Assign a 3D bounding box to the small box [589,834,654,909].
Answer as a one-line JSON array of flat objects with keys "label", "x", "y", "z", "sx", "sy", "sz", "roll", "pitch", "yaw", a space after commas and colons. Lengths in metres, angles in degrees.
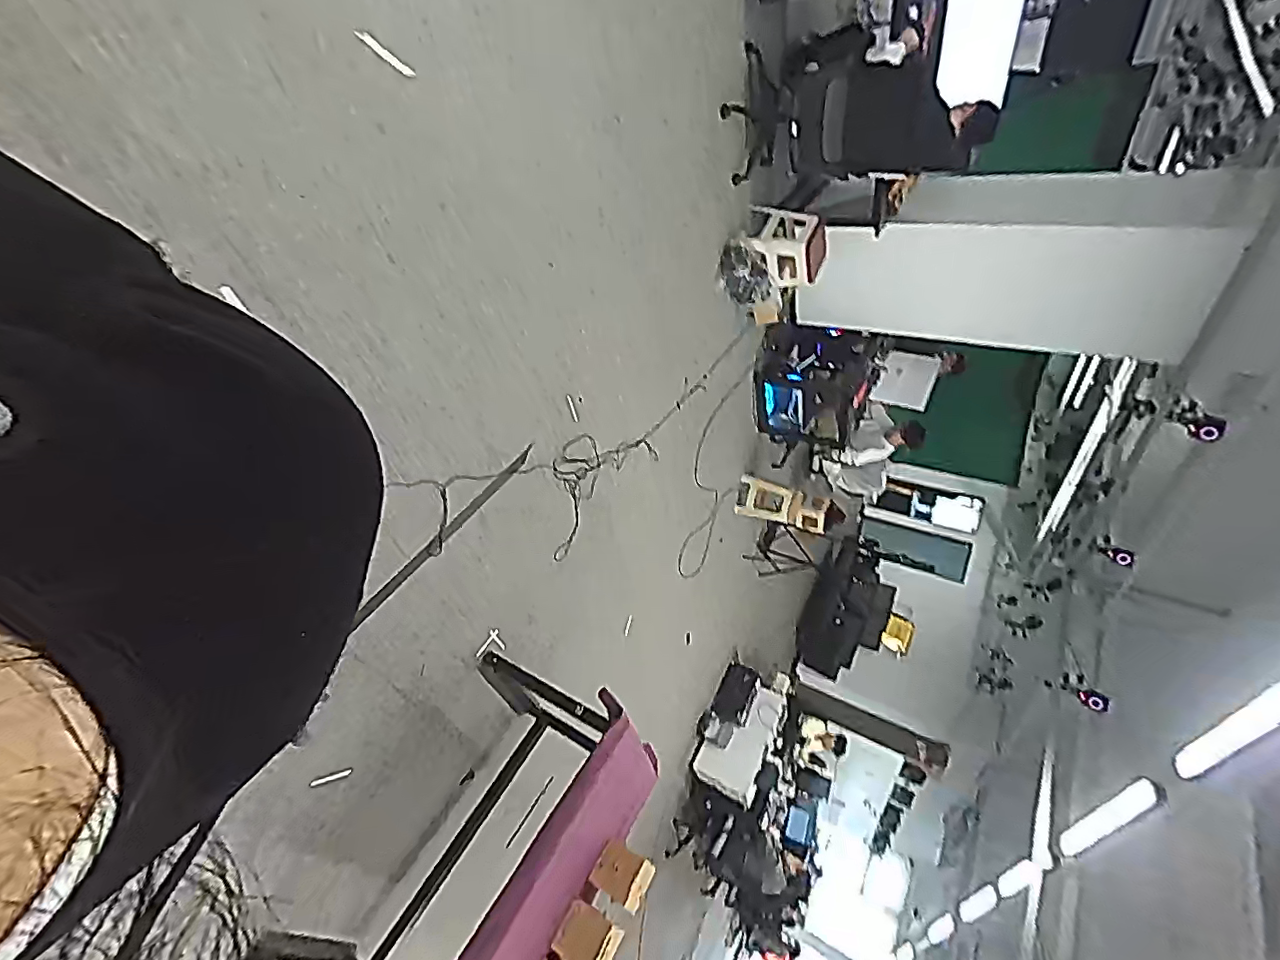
[{"label": "small box", "x": -0.073, "y": 1.503, "z": 2.083, "sx": 0.168, "sy": 0.176, "sz": 0.179, "roll": -53, "pitch": 142, "yaw": -31}]
